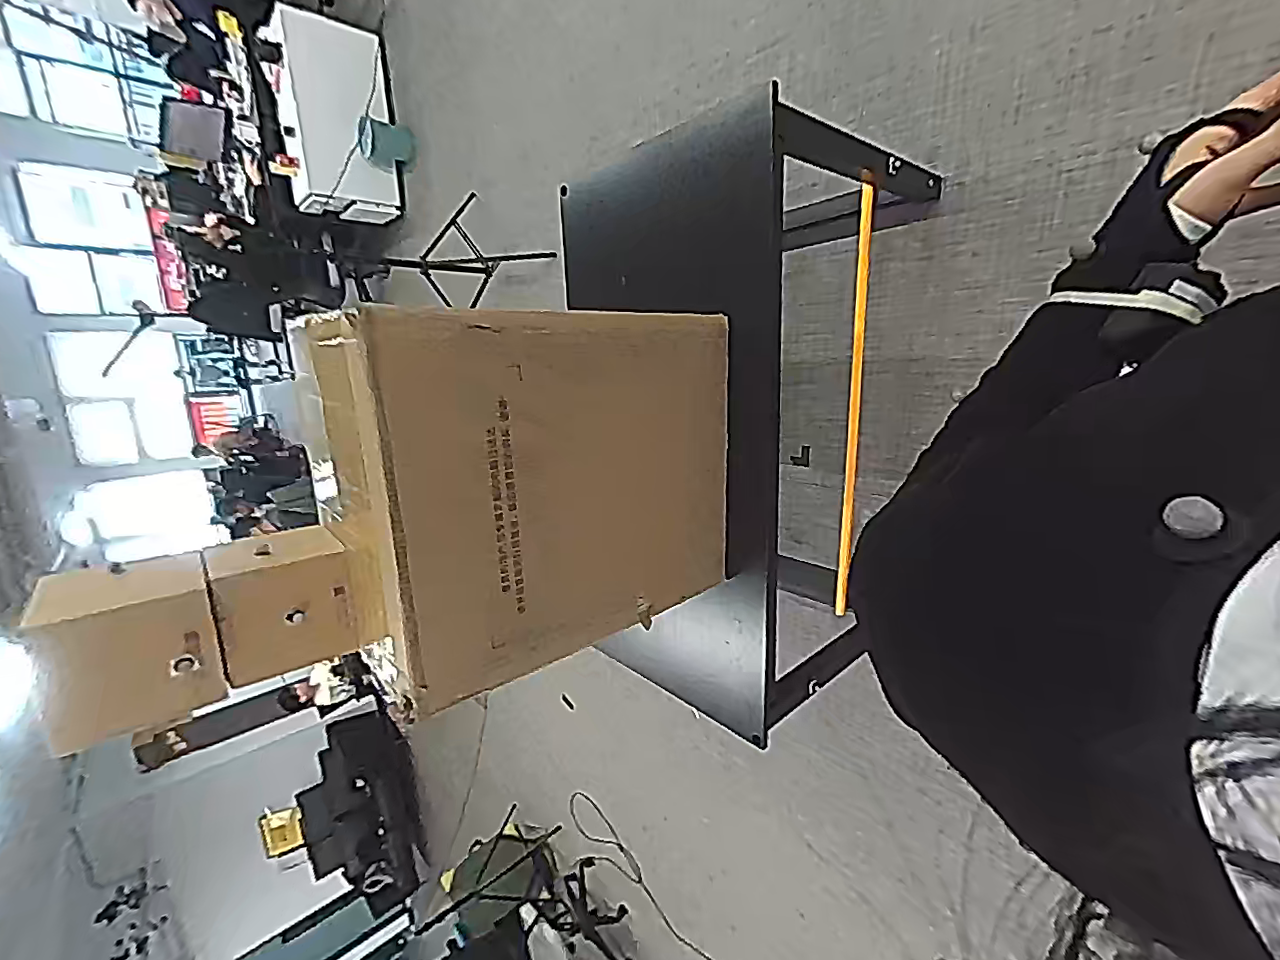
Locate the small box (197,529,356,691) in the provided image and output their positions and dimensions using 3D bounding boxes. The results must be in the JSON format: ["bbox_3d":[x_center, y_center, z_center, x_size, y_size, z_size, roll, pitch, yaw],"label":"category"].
[{"bbox_3d":[-0.546,0.182,0.823,0.179,0.176,0.168,13,109,48],"label":"small box"}]

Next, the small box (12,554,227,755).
[{"bbox_3d":[-0.660,0.208,0.707,0.179,0.176,0.168,16,112,47],"label":"small box"}]
